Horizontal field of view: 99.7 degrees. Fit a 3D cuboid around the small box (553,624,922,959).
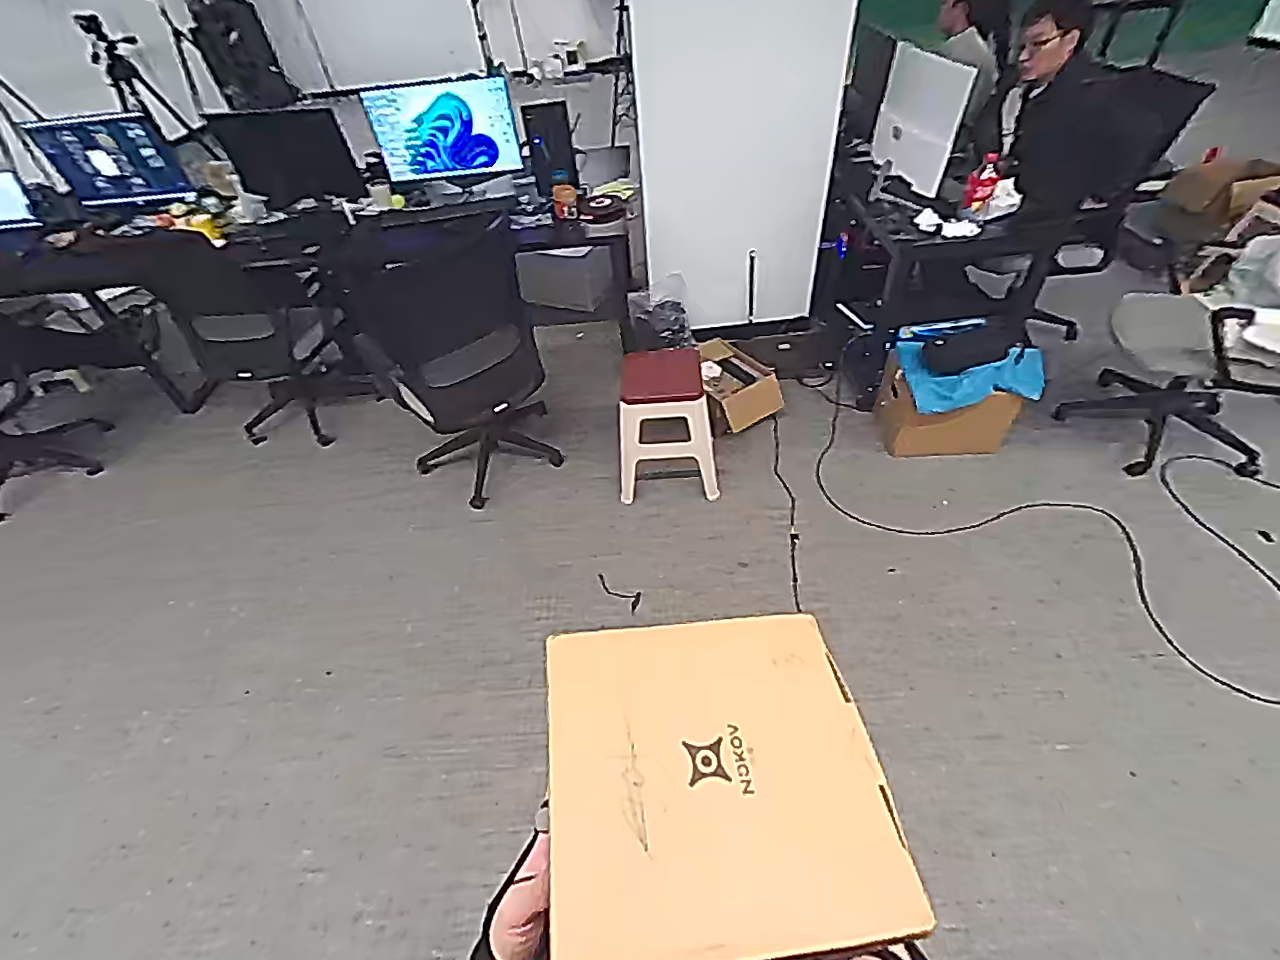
[{"bbox_3d":[0.035,0.215,0.355,0.179,0.176,0.168,-4,45,-7],"label":"small box"}]
